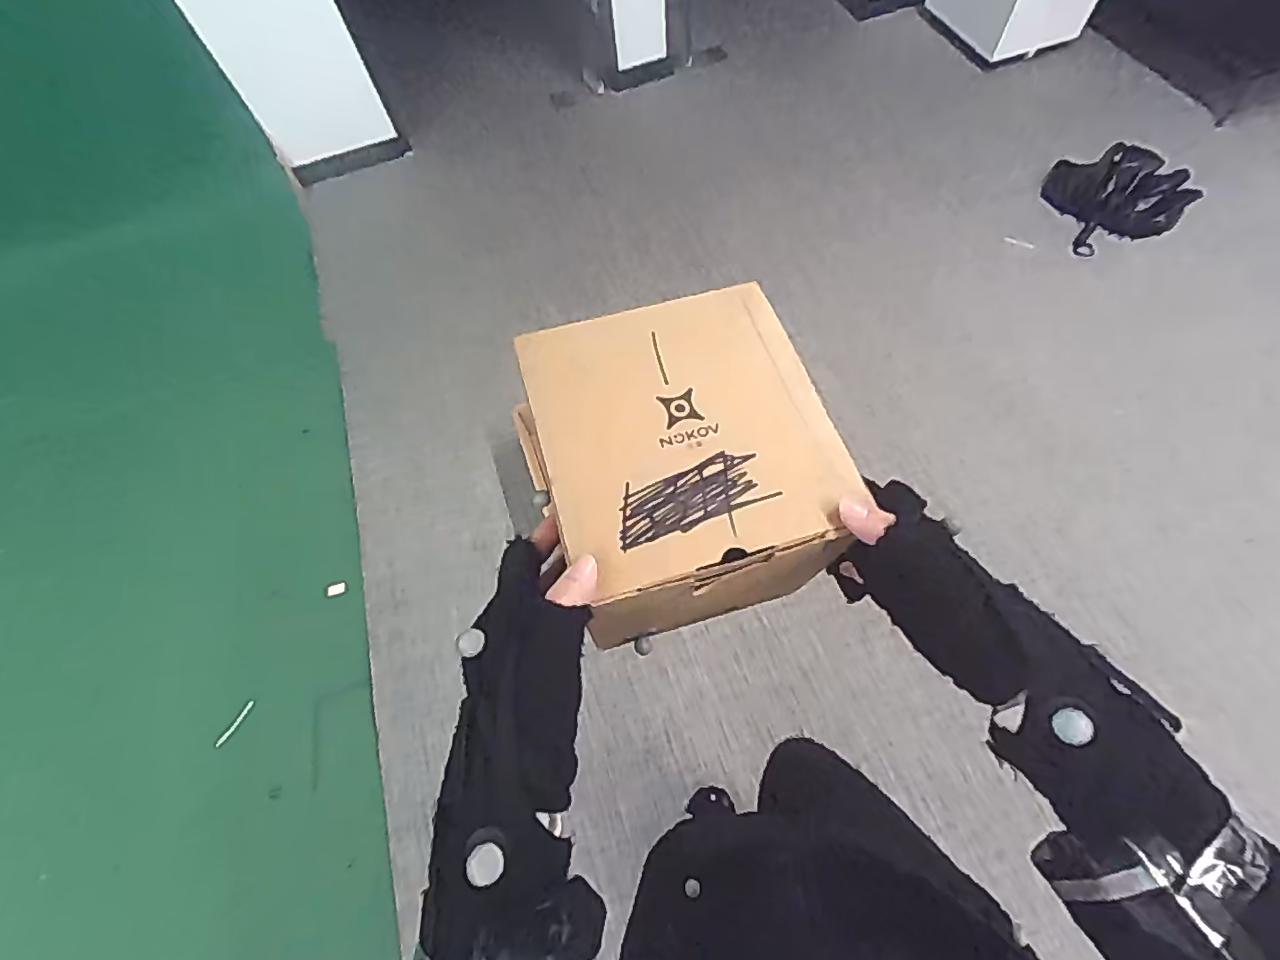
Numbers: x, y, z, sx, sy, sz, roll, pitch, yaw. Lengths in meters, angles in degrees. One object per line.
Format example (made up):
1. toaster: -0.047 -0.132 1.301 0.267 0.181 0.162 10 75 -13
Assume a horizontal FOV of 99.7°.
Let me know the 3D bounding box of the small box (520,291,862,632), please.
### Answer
1. small box: 0.024 0.001 0.394 0.168 0.176 0.179 -15 65 -7
